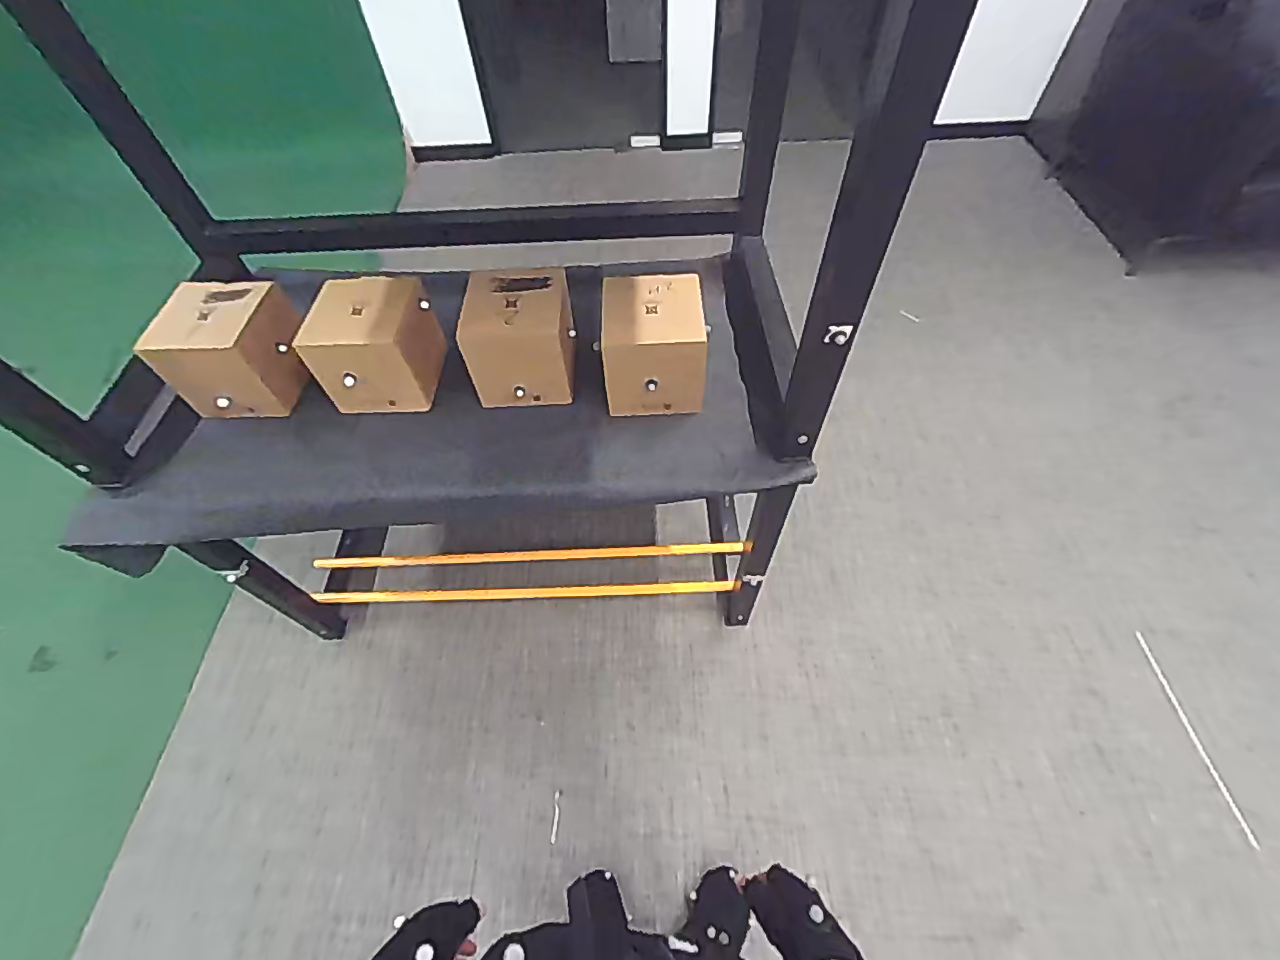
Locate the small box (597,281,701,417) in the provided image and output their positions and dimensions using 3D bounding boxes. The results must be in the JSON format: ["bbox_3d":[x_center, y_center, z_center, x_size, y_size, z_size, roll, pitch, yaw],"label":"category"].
[{"bbox_3d":[0.017,-0.222,0.950,0.168,0.176,0.179,-2,54,1],"label":"small box"}]

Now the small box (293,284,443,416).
[{"bbox_3d":[-0.472,-0.228,0.974,0.168,0.176,0.179,-1,54,1],"label":"small box"}]

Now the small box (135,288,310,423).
[{"bbox_3d":[-0.725,-0.222,0.974,0.168,0.176,0.179,-1,55,1],"label":"small box"}]
